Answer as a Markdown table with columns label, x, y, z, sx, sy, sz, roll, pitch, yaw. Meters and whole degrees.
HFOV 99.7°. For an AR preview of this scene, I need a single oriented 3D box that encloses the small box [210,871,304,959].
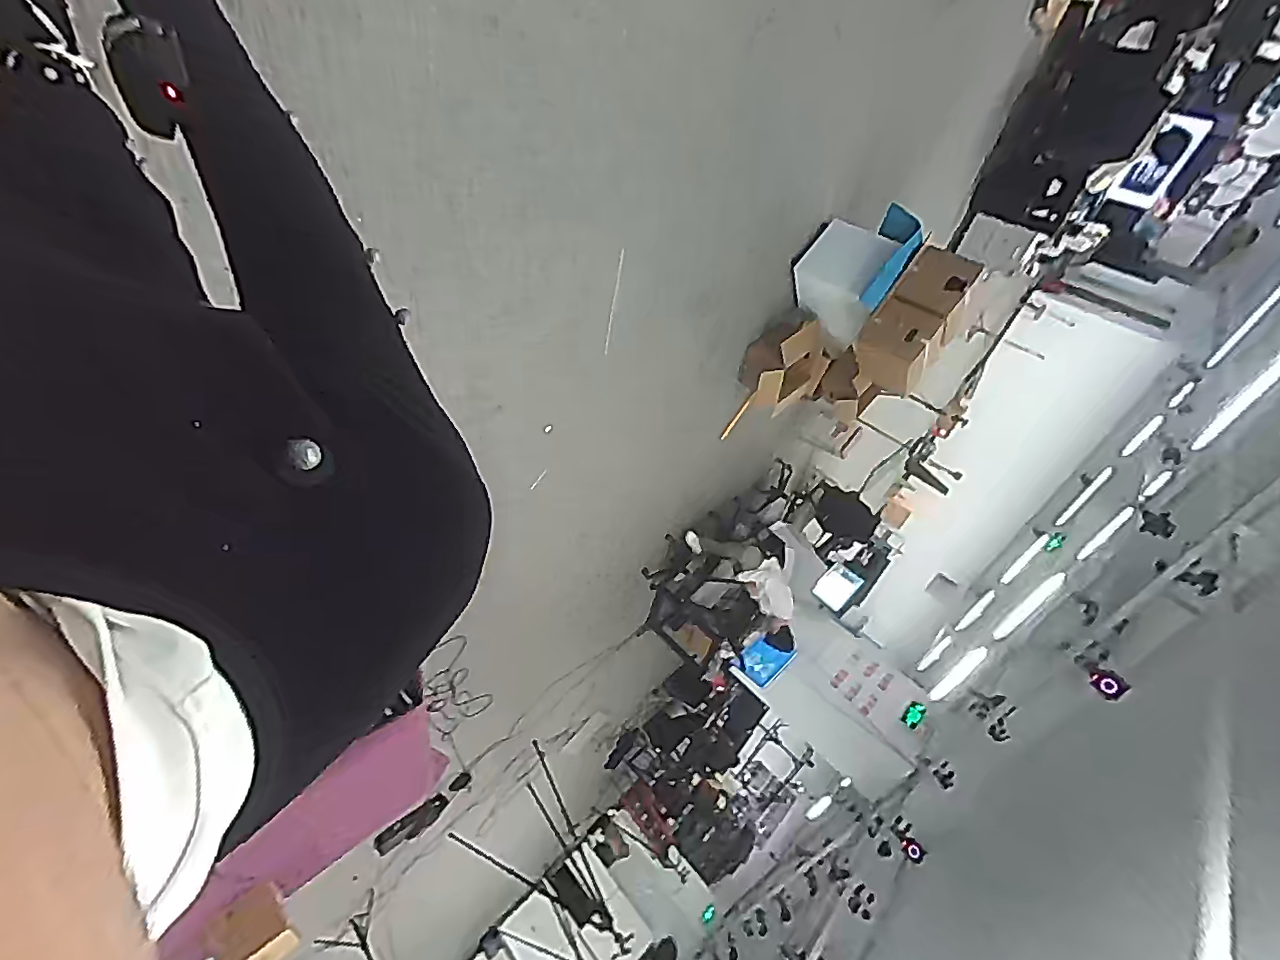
| label | x | y | z | sx | sy | sz | roll | pitch | yaw |
| --- | --- | --- | --- | --- | --- | --- | --- | --- | --- |
| small box | -1.136 | 1.312 | 1.604 | 0.168 | 0.176 | 0.179 | -26 | 144 | -38 |
